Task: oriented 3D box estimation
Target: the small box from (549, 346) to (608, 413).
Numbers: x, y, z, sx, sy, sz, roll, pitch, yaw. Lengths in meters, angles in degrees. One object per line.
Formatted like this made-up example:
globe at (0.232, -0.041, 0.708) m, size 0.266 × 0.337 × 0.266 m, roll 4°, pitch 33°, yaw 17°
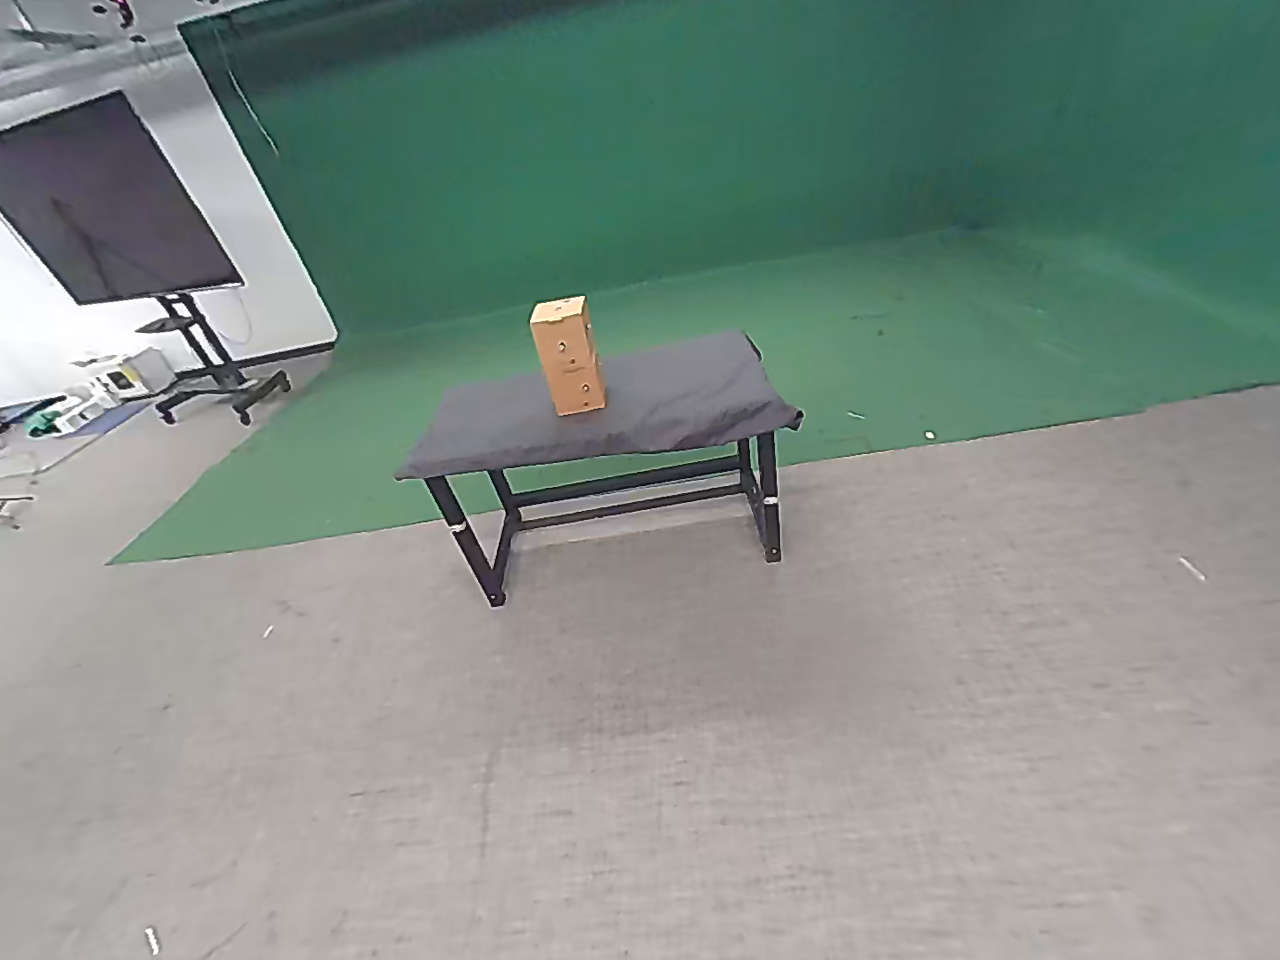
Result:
small box at (-0.206, -0.343, 1.868) m, size 0.168 × 0.176 × 0.179 m, roll -9°, pitch 35°, yaw 3°

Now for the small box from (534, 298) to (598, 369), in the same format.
small box at (-0.236, -0.475, 1.777) m, size 0.168 × 0.176 × 0.179 m, roll -8°, pitch 37°, yaw 5°
